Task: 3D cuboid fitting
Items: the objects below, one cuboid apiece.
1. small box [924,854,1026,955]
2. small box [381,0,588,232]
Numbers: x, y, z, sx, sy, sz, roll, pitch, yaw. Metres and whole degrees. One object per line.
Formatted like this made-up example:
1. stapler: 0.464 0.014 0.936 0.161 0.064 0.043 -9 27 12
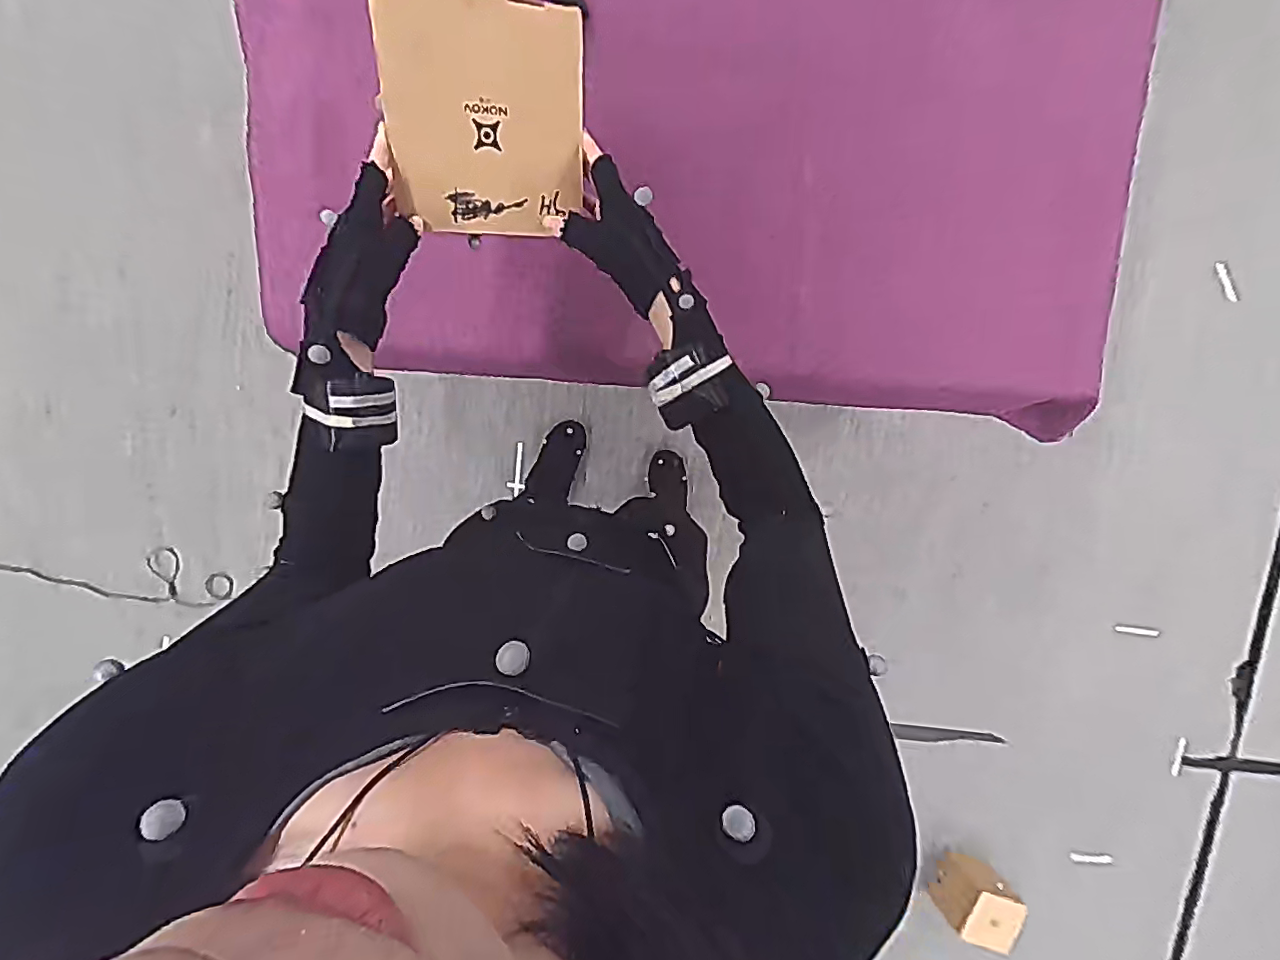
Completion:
1. small box: 1.042 1.321 1.695 0.179 0.176 0.168 23 93 -7
2. small box: -0.148 -0.346 0.535 0.168 0.176 0.179 -4 116 -15
